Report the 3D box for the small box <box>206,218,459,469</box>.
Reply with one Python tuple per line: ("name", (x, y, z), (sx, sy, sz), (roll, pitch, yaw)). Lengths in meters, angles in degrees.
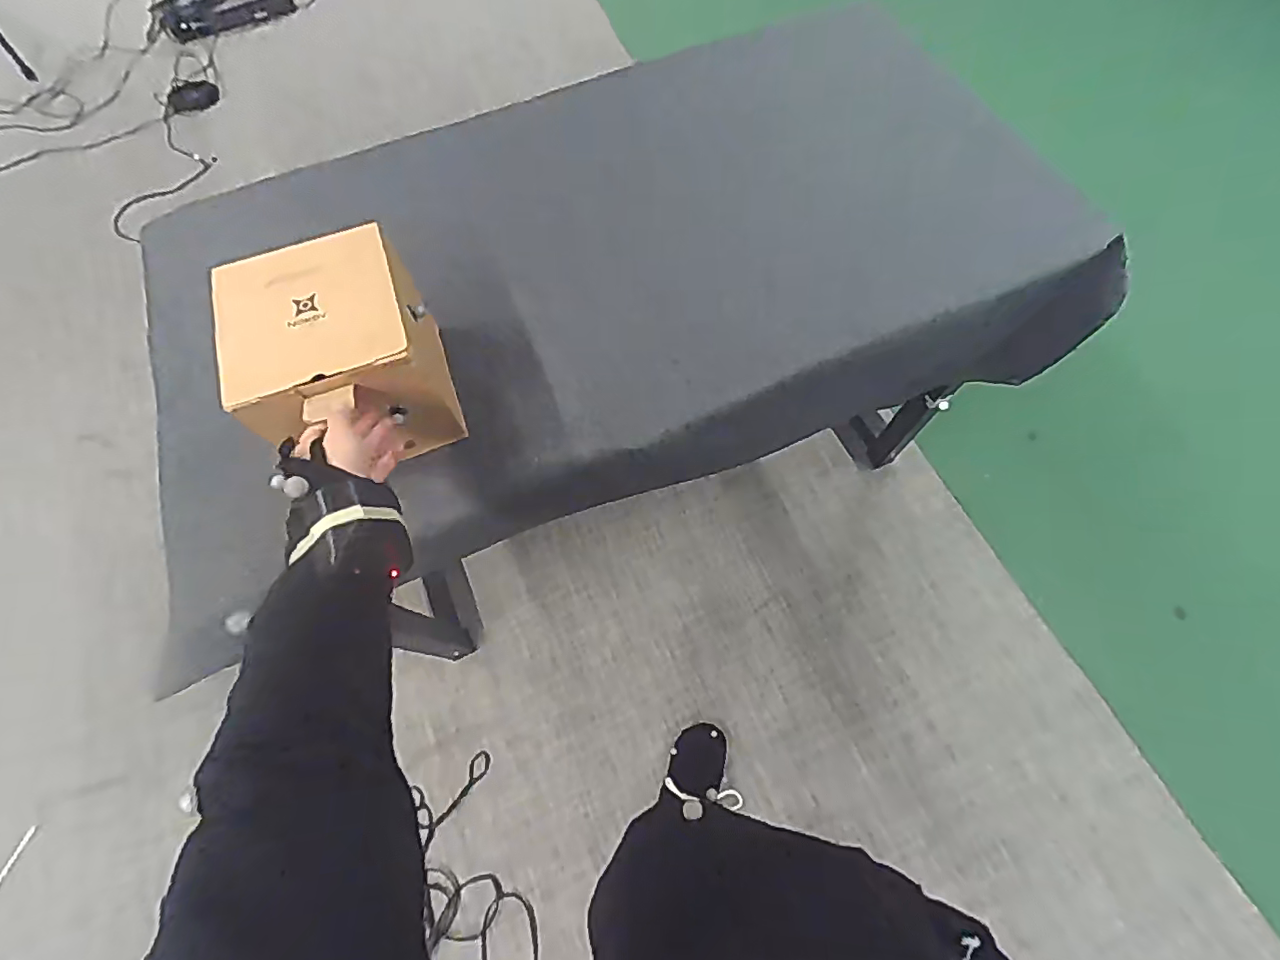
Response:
("small box", (-0.309, -0.129, 0.570), (0.168, 0.176, 0.179), (-20, 66, -8))
